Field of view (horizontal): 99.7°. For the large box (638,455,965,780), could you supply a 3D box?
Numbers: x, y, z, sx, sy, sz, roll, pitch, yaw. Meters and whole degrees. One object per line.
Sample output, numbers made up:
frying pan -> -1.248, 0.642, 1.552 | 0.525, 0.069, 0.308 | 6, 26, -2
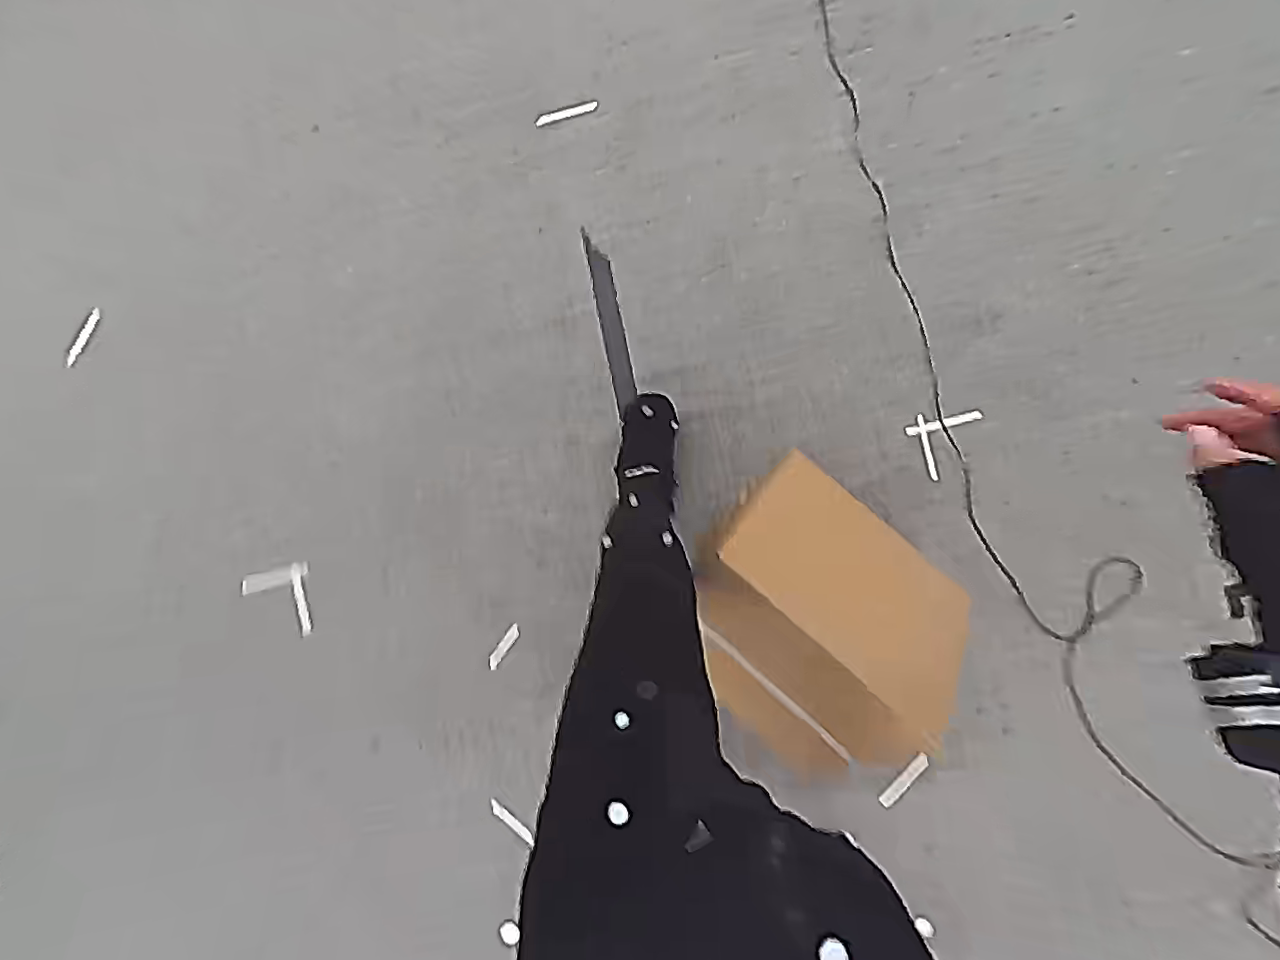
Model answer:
large box -> 0.274, 0.240, 0.956 | 0.408, 0.320, 0.320 | 41, 139, 6
